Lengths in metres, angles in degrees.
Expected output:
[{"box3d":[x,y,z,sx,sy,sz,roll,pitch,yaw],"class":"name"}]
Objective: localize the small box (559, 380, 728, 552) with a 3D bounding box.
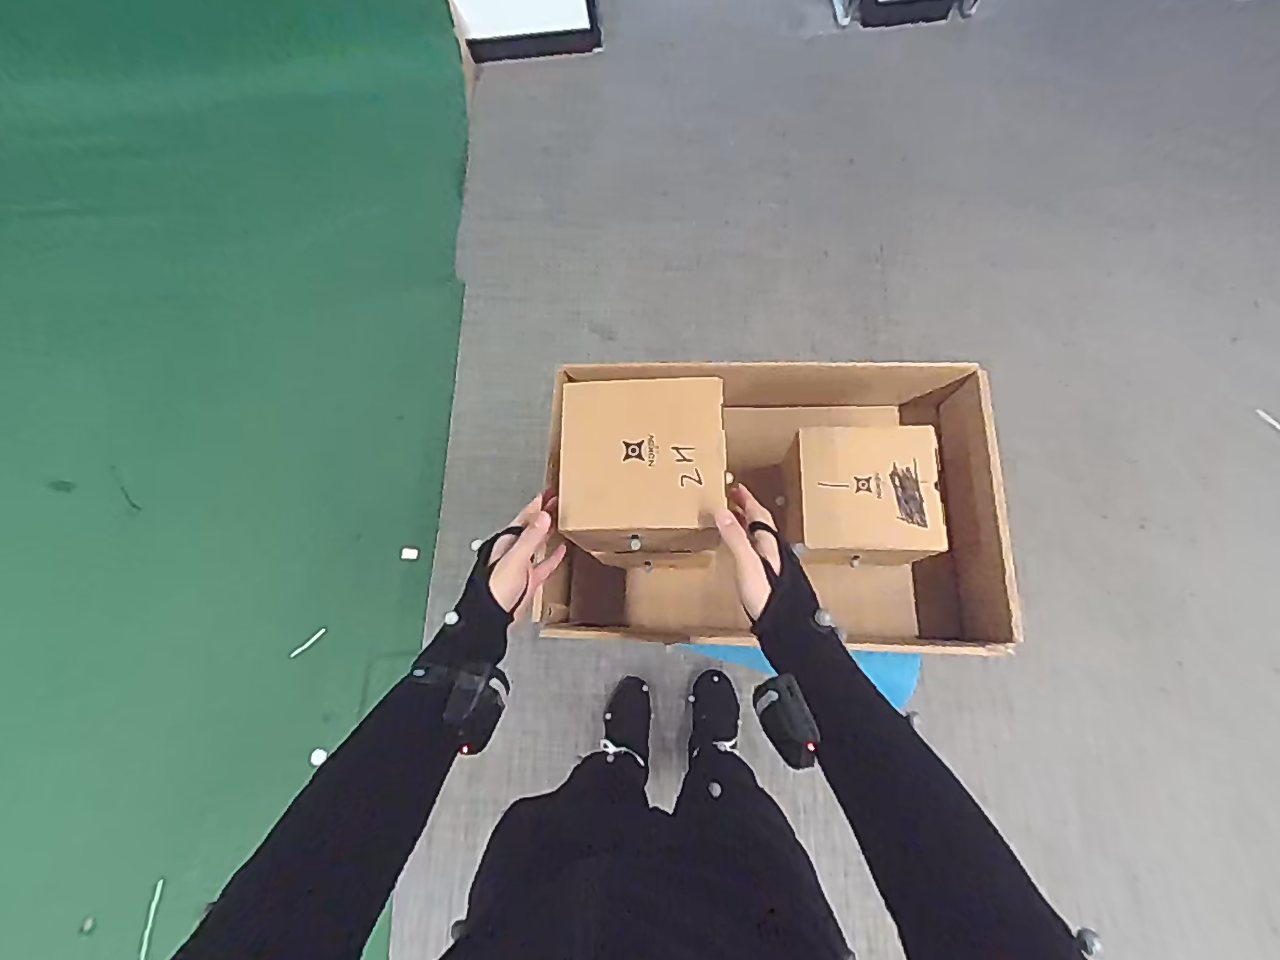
[{"box3d":[0.011,-0.006,0.642,0.179,0.176,0.168,-1,75,5],"class":"small box"}]
